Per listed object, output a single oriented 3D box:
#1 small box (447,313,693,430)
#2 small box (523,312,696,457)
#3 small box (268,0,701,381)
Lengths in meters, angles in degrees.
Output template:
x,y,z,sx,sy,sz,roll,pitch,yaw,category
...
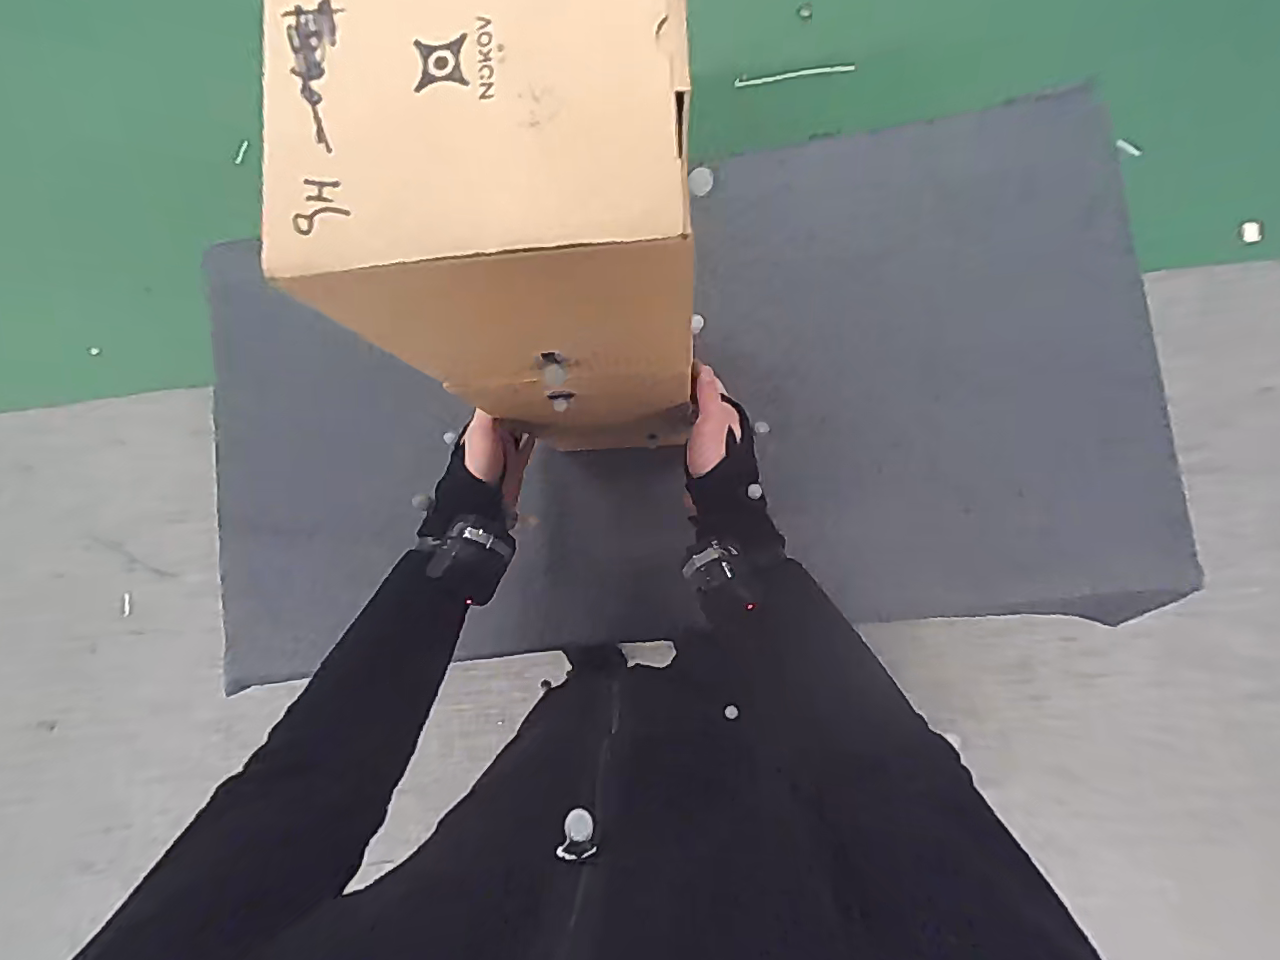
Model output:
x,y,z,sx,sy,sz,roll,pitch,yaw,category
-0.047,-0.141,0.460,0.179,0.176,0.168,-4,84,4,small box
-0.026,-0.122,0.623,0.179,0.176,0.168,-4,83,7,small box
-0.061,-0.160,0.299,0.179,0.176,0.168,-4,84,5,small box
